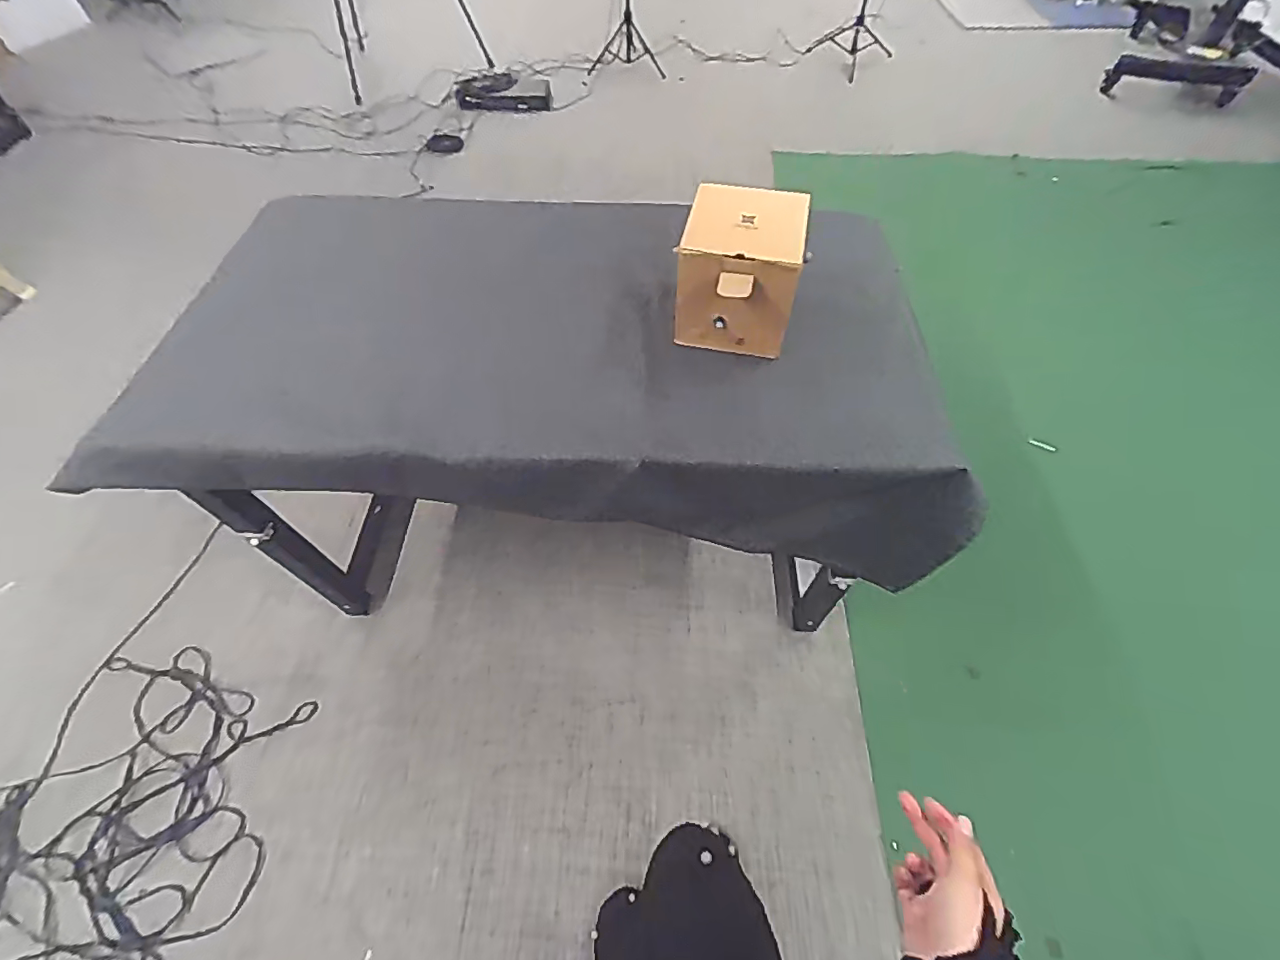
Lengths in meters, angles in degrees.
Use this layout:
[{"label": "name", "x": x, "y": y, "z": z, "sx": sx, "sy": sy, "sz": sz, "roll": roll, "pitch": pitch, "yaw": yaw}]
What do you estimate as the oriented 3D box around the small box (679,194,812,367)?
[{"label": "small box", "x": 0.155, "y": -0.304, "z": 0.830, "sx": 0.168, "sy": 0.176, "sz": 0.179, "roll": 11, "pitch": 57, "yaw": 8}]
